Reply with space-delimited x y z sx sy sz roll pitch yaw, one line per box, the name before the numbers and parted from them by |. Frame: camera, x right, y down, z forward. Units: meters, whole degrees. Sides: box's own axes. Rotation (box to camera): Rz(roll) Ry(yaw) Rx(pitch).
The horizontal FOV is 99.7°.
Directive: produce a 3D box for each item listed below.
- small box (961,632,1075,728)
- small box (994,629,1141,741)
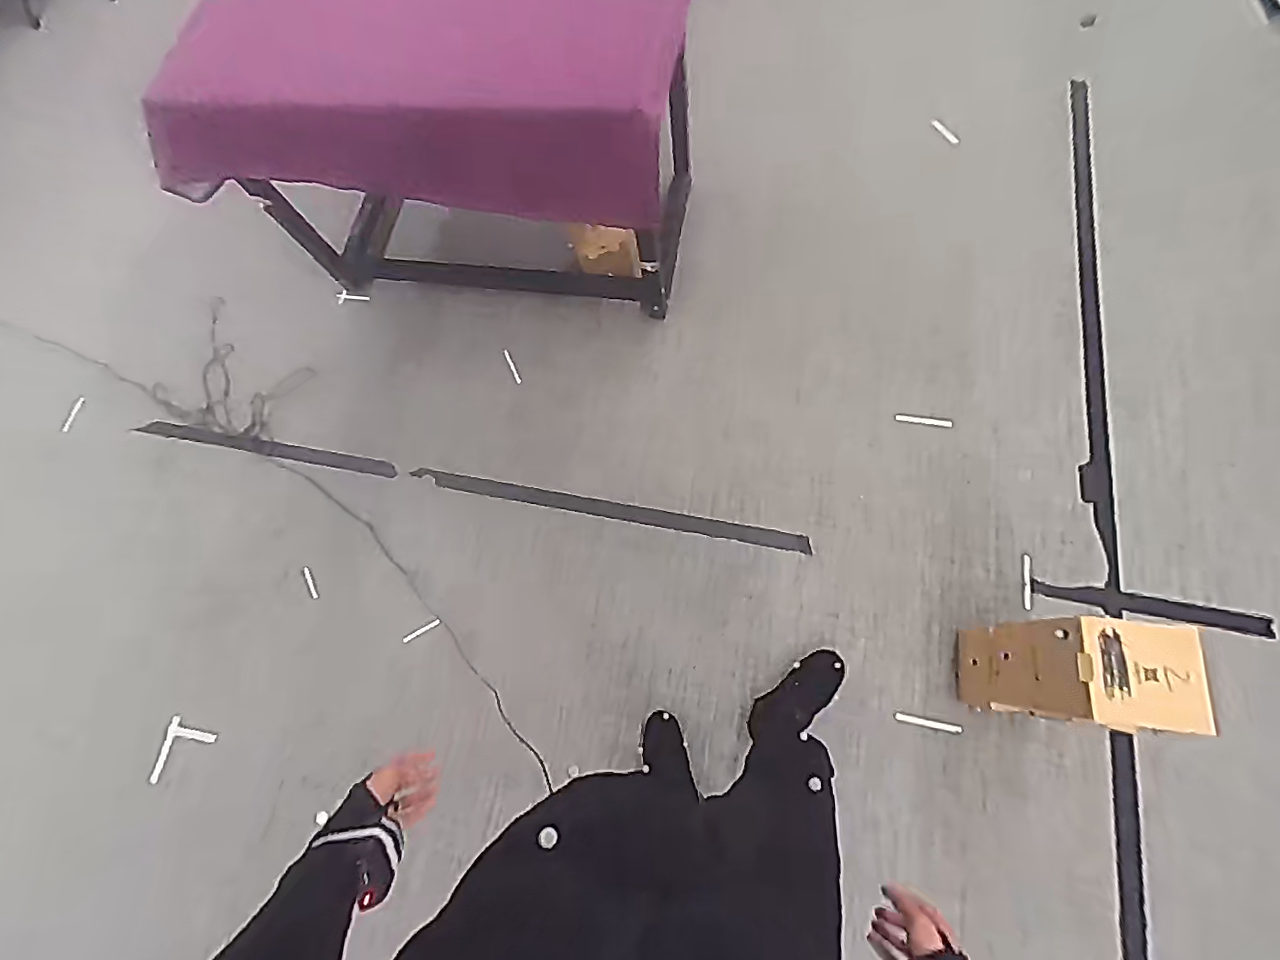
small box | 0.863 0.455 1.246 0.168 0.176 0.179 7 73 10
small box | 0.853 0.404 1.091 0.179 0.176 0.168 11 75 12
